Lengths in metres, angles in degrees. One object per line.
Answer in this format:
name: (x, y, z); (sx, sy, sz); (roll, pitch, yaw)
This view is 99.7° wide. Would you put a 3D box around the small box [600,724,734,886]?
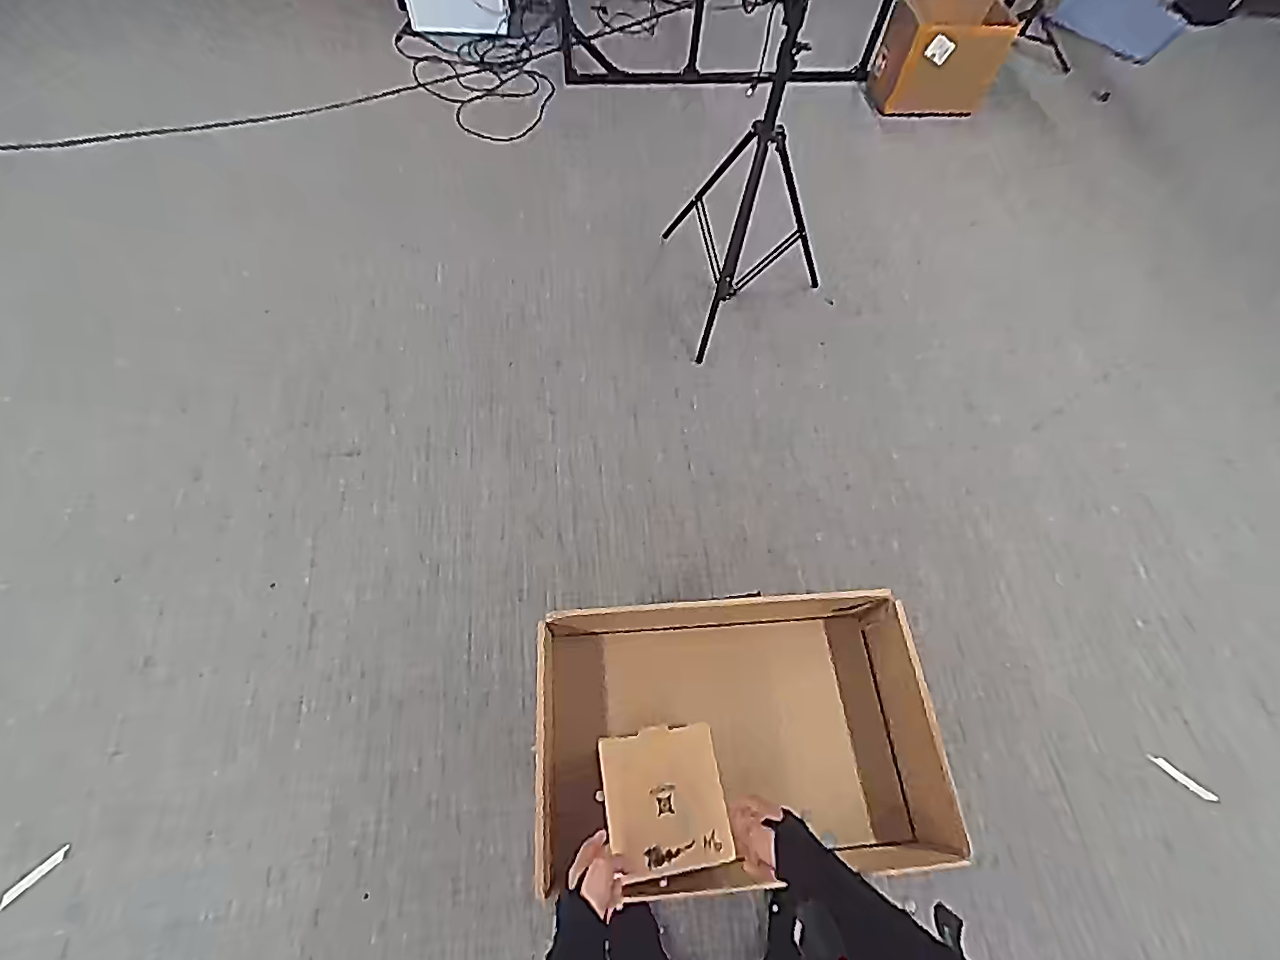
small box: (0.029, 0.483, 0.821); (0.168, 0.176, 0.179); (-7, 63, -6)
